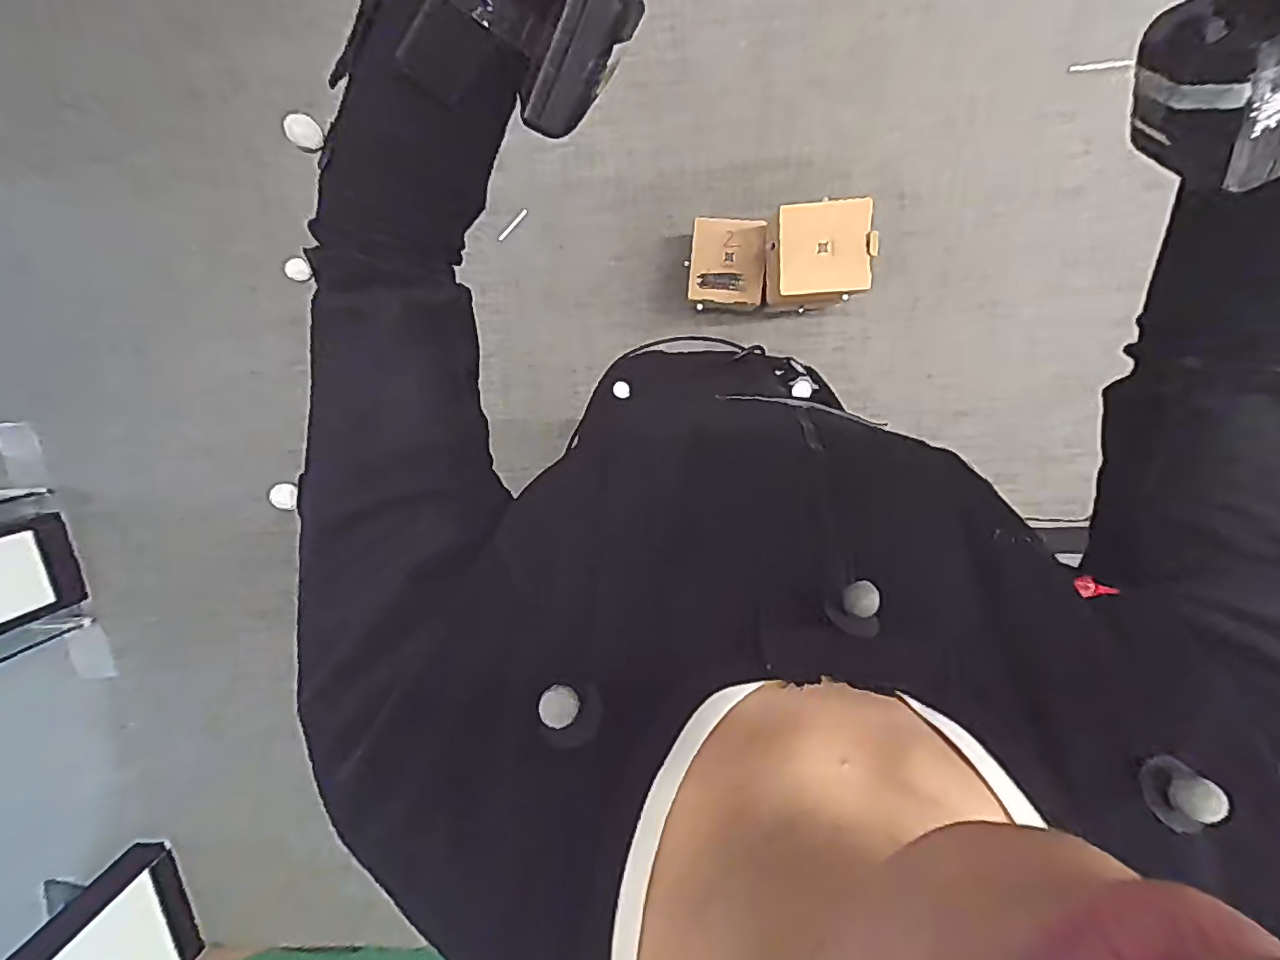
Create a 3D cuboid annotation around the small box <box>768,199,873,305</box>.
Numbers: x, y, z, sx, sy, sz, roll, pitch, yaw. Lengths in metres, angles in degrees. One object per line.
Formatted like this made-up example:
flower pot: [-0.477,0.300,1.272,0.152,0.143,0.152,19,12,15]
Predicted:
small box: [0.361,-0.458,1.110,0.179,0.176,0.168,-3,102,4]
